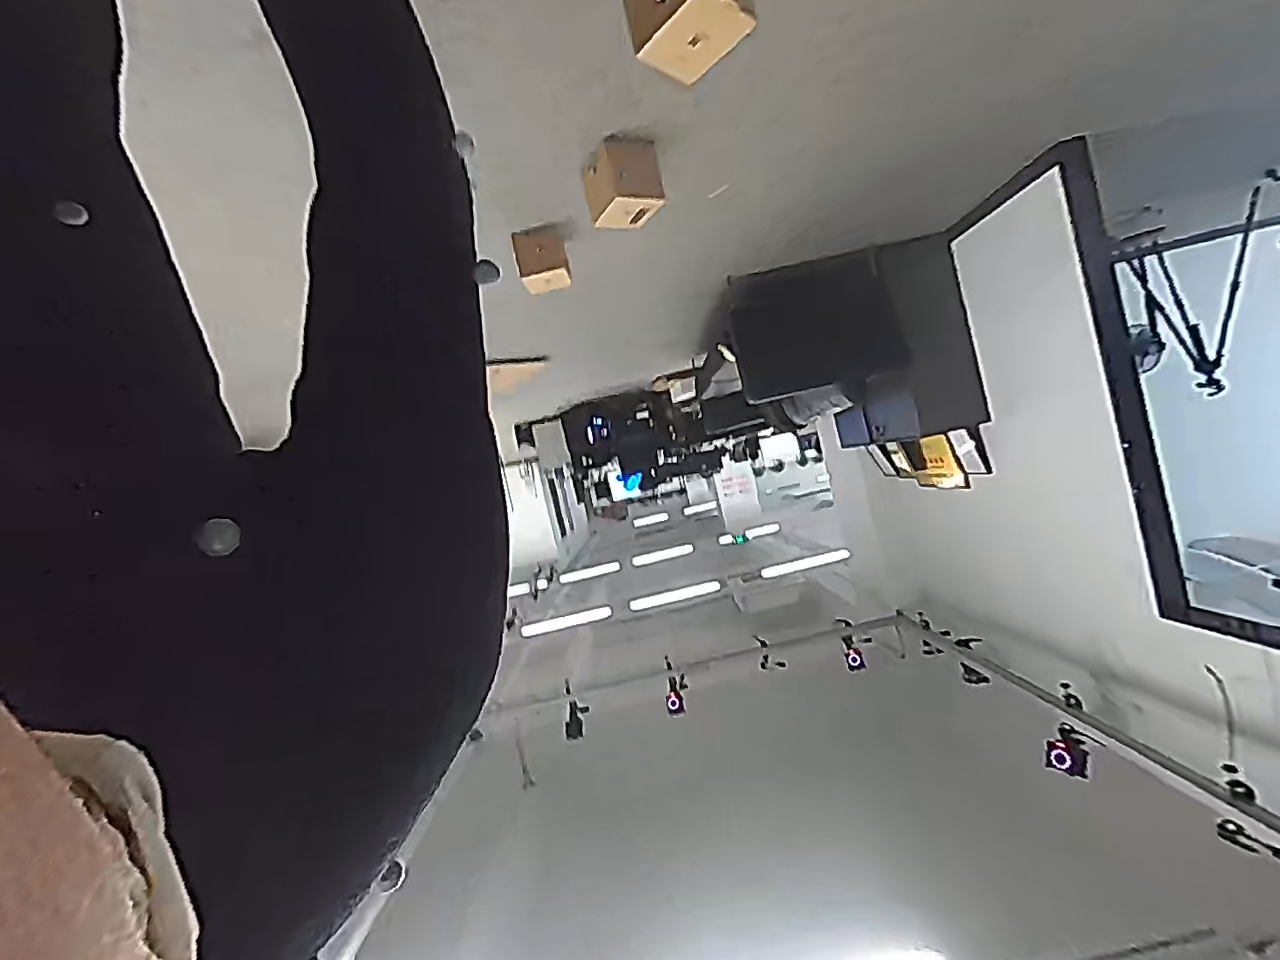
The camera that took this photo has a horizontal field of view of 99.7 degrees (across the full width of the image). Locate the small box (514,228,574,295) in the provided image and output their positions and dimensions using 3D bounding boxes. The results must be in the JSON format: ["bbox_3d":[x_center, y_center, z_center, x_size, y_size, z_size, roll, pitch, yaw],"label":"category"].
[{"bbox_3d":[-0.353,-0.809,1.995,0.168,0.176,0.179,-13,-179,3],"label":"small box"}]
